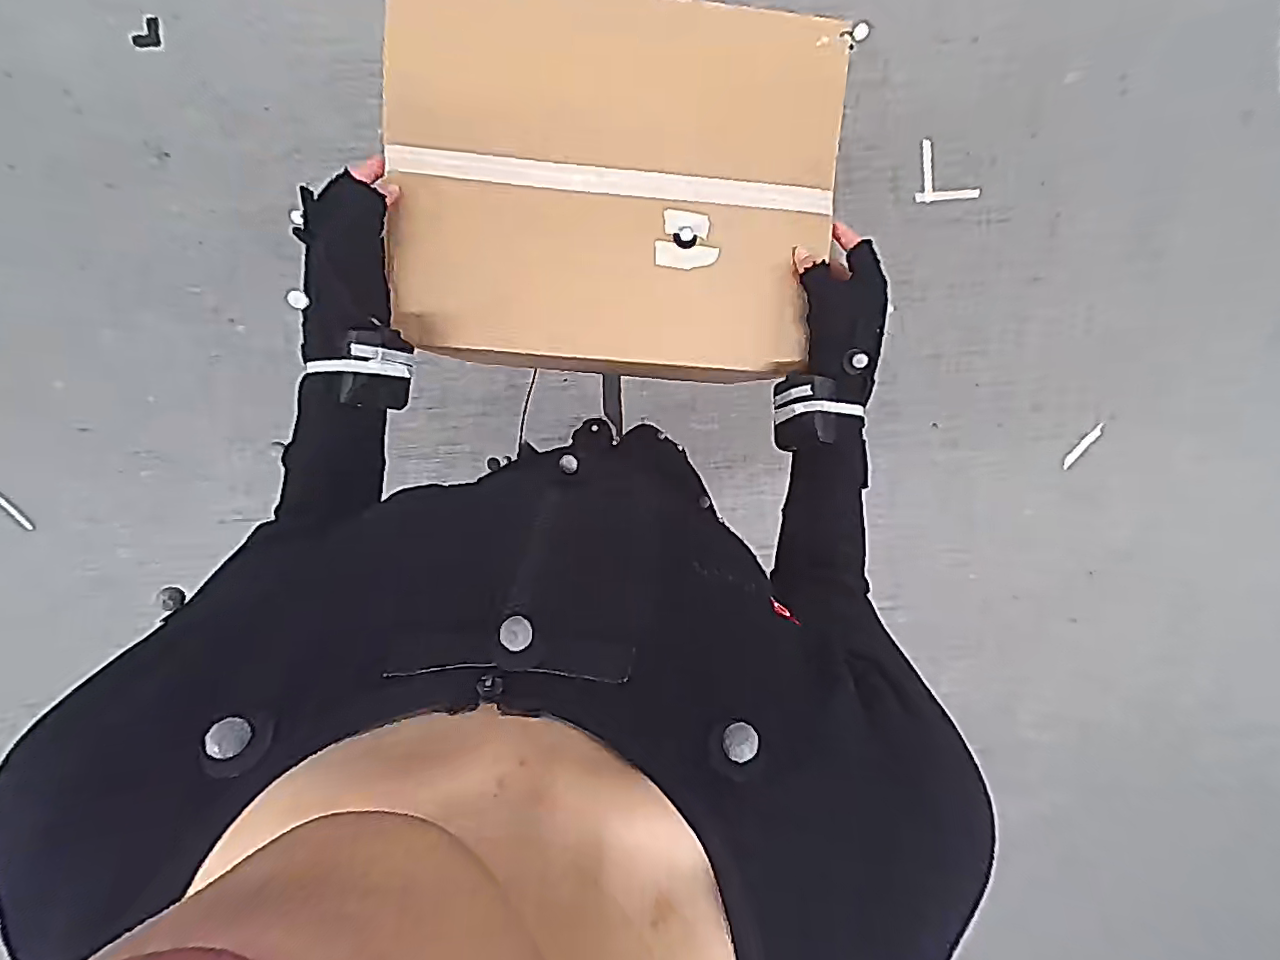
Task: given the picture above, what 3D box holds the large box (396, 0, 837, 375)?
[{"bbox_3d":[-0.035,-0.299,0.650,0.408,0.320,0.320,3,98,-5],"label":"large box"}]
